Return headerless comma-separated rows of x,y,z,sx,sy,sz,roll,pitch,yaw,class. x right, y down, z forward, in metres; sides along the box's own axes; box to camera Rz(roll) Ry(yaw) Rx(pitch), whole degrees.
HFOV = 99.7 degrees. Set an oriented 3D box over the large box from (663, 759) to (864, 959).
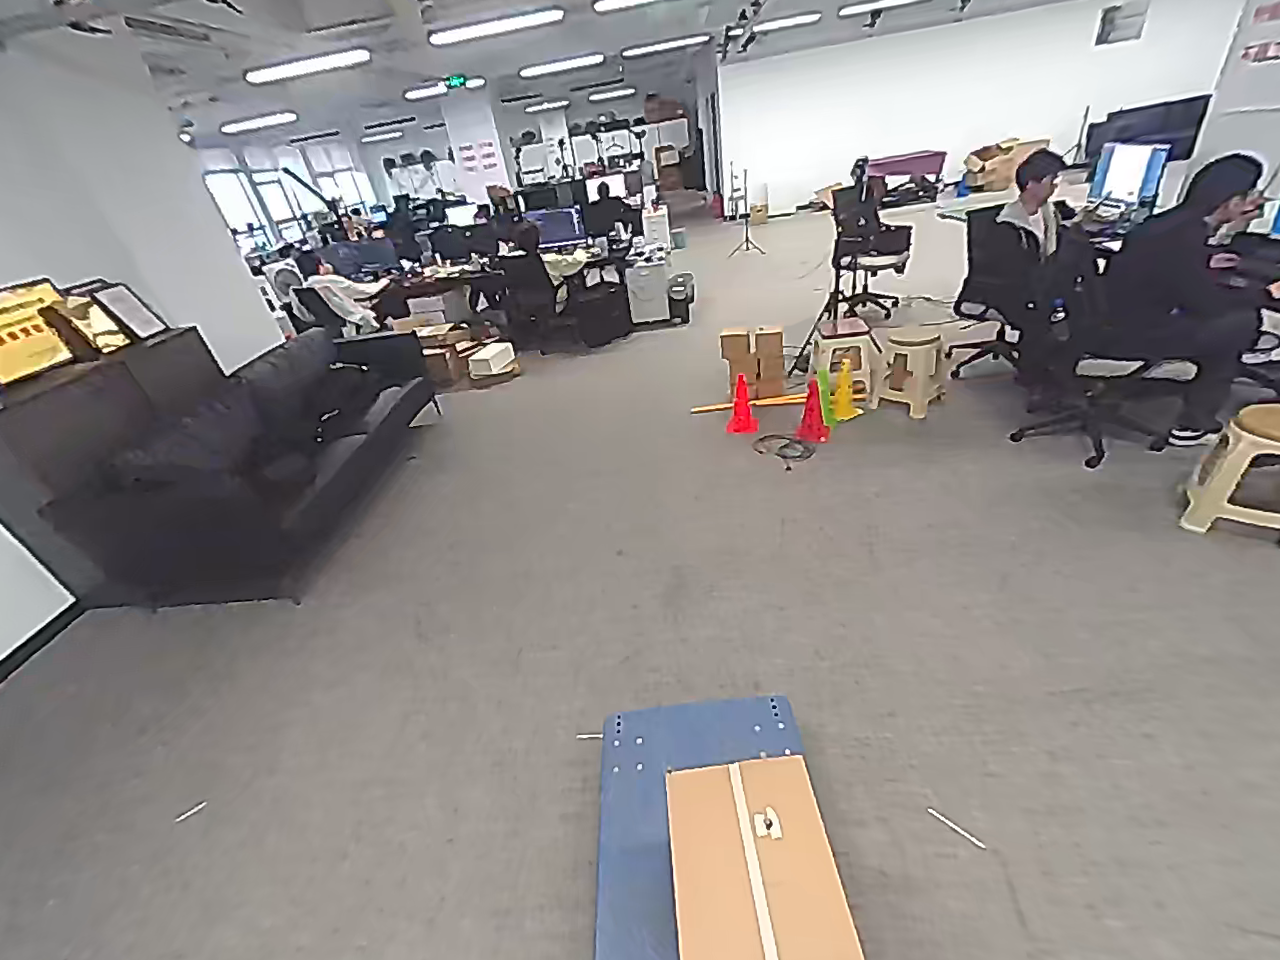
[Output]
0.237,0.873,1.116,0.320,0.320,0.408,-8,31,2,large box
